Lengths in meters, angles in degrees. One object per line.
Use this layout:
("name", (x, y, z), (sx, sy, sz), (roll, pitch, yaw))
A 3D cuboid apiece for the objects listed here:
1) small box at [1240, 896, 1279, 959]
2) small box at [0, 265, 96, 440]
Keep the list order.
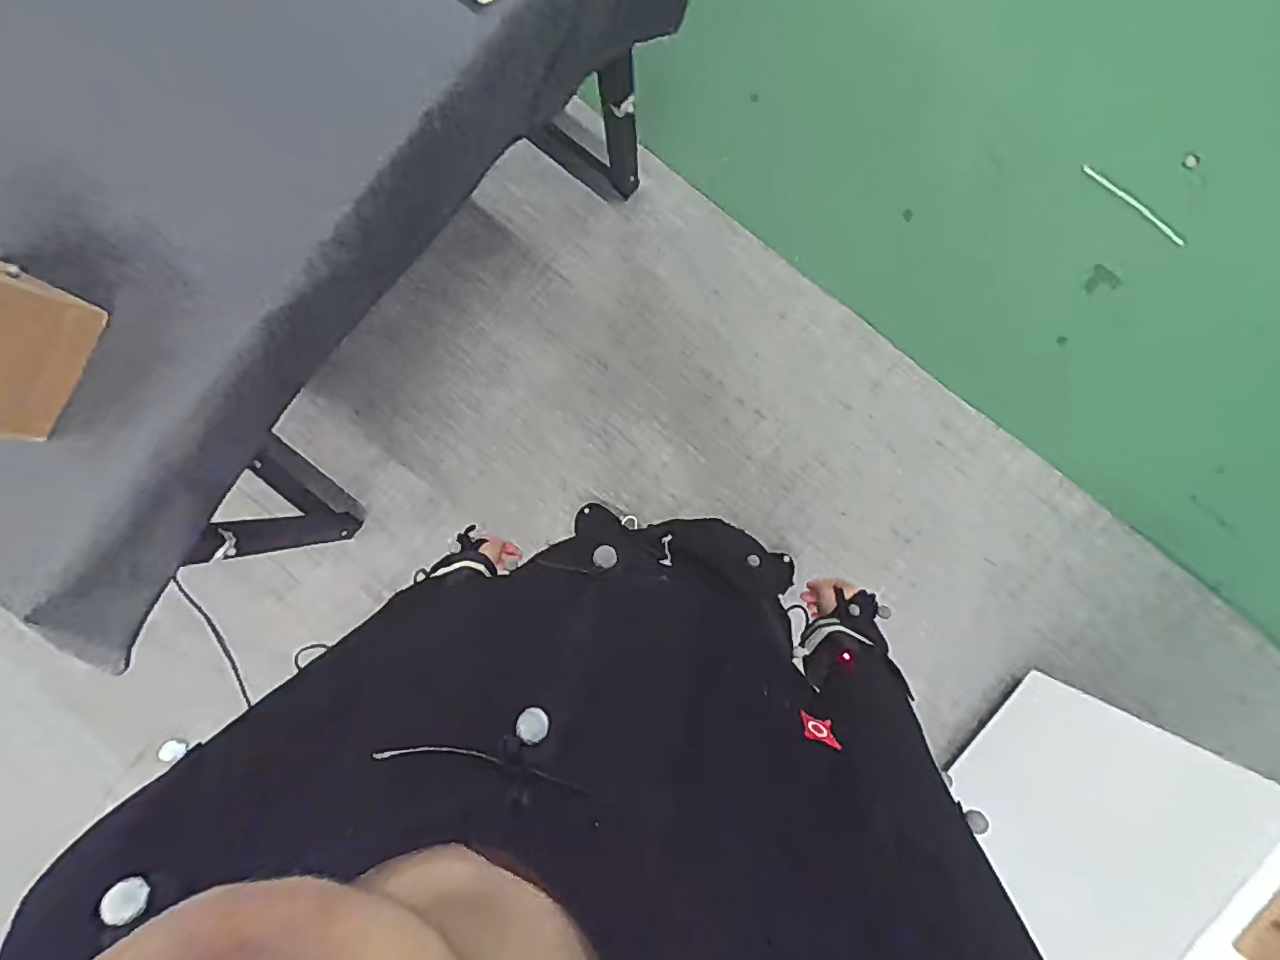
("small box", (0.922, 0.623, 0.656), (0.179, 0.176, 0.168), (41, 91, 0))
("small box", (-0.756, -0.156, 0.575), (0.168, 0.176, 0.179), (25, 88, 2))
